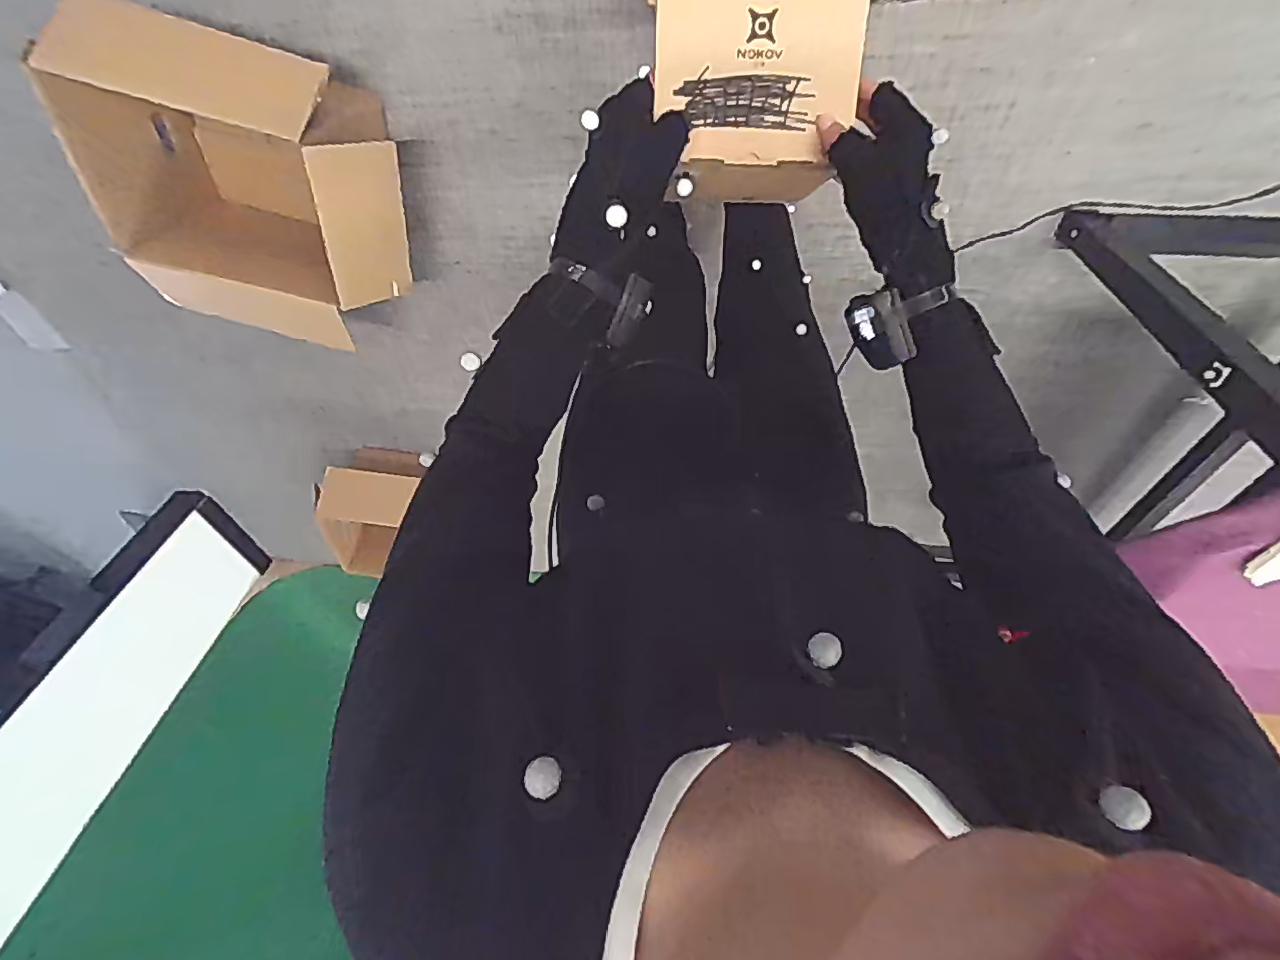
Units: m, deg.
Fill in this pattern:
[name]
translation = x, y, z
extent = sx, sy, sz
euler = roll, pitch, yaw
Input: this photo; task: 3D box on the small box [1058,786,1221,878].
[small box]
translation = 1.088, 0.757, 1.201
extent = 0.179, 0.176, 0.168
euler = 9, 137, 1
